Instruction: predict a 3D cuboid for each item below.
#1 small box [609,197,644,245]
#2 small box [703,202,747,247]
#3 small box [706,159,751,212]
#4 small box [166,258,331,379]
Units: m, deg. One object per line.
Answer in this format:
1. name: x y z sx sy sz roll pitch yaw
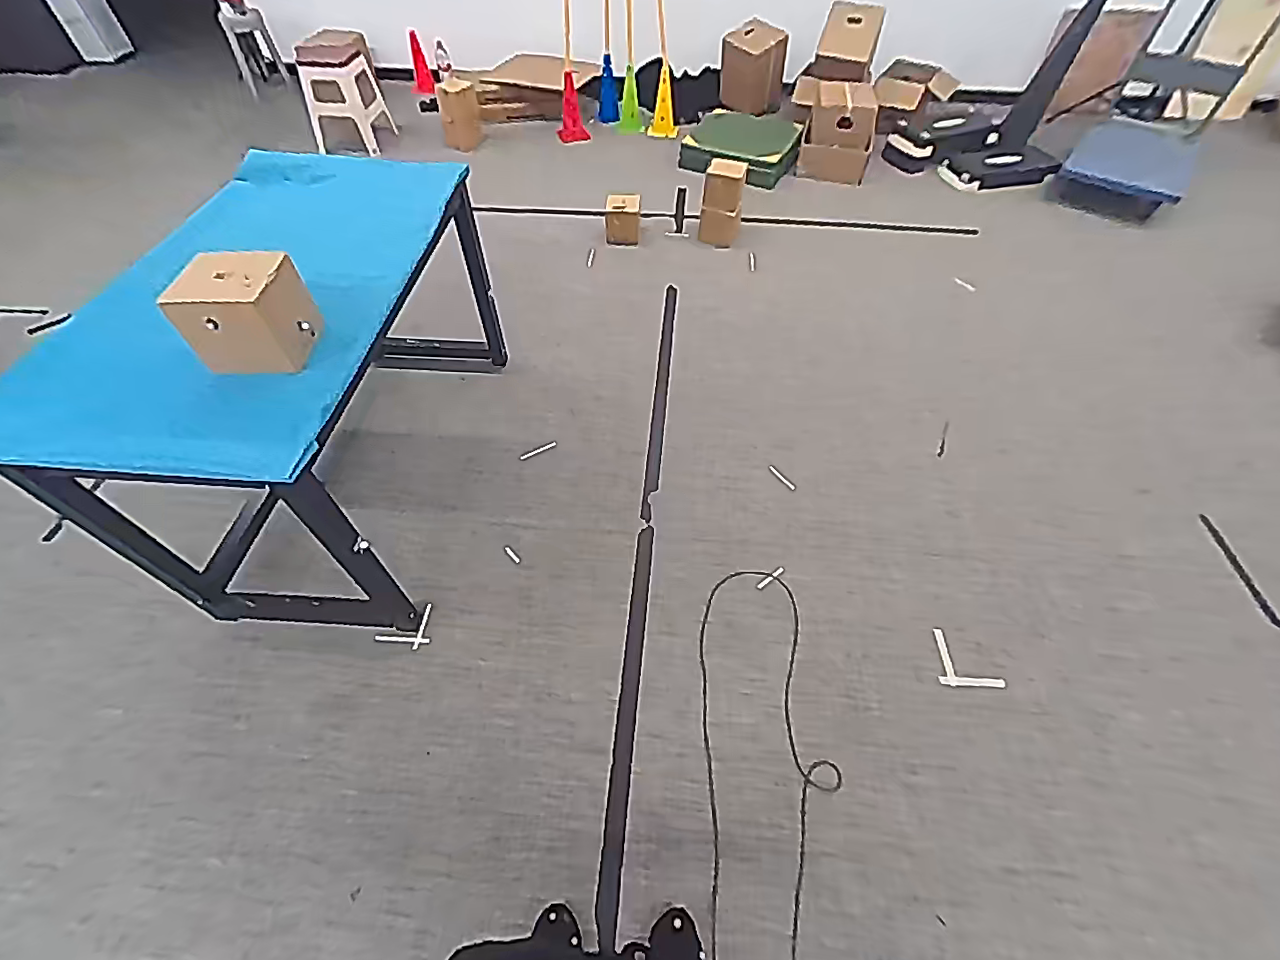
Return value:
1. small box: -0.064 -1.323 2.762 0.168 0.176 0.179 3 51 2
2. small box: 0.430 -1.318 2.764 0.179 0.176 0.168 18 54 11
3. small box: 0.431 -1.440 2.650 0.179 0.176 0.168 16 55 10
4. small box: -0.760 -0.318 1.075 0.179 0.176 0.168 3 53 0
